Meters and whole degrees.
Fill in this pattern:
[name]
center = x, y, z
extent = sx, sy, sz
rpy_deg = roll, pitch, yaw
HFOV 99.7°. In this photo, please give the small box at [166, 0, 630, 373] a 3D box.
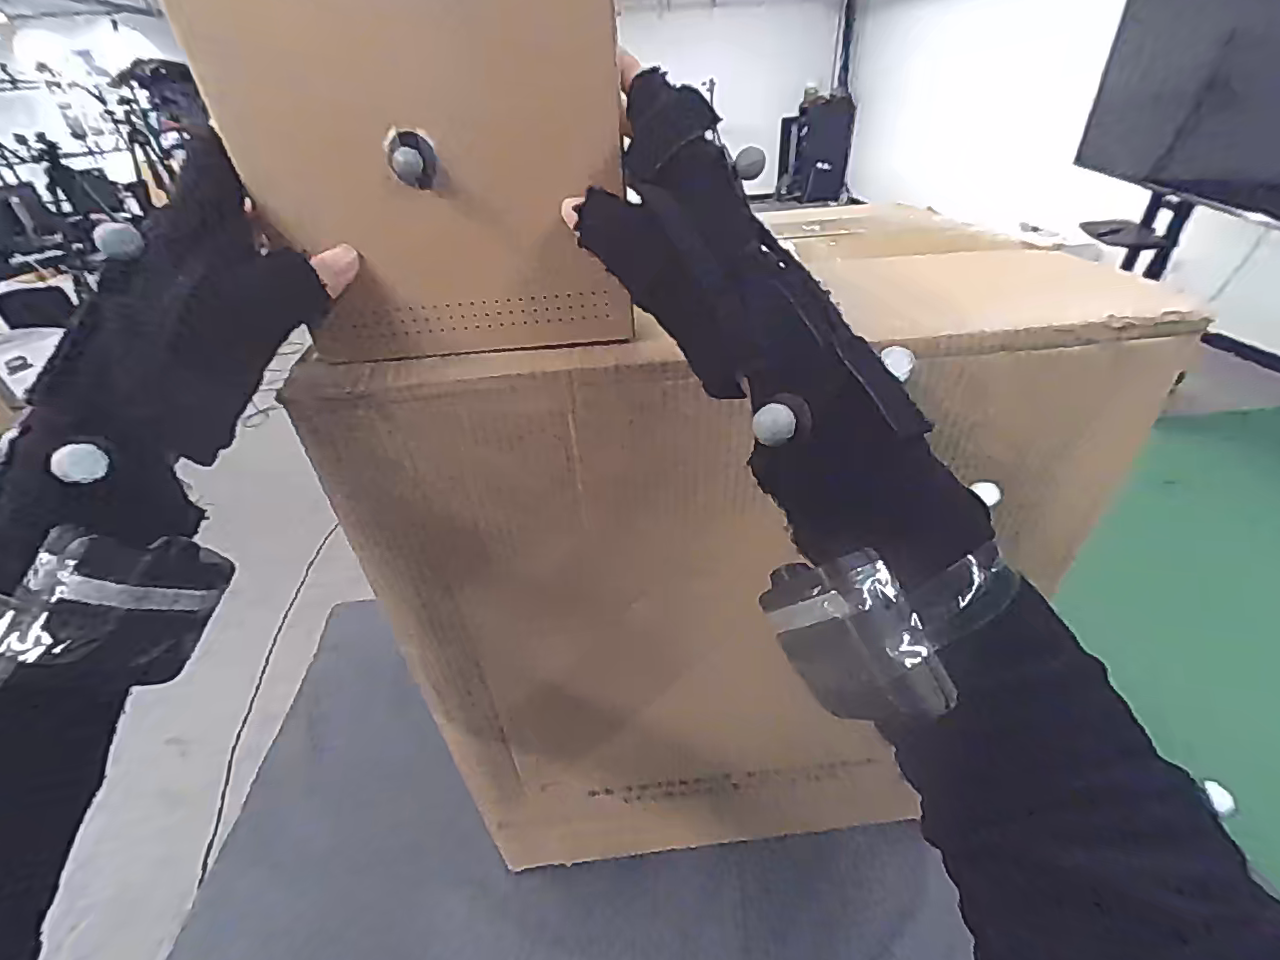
[small box]
center = -0.098, -0.177, 0.315
extent = 0.179, 0.176, 0.168
rpy_deg = -6, 38, -4
